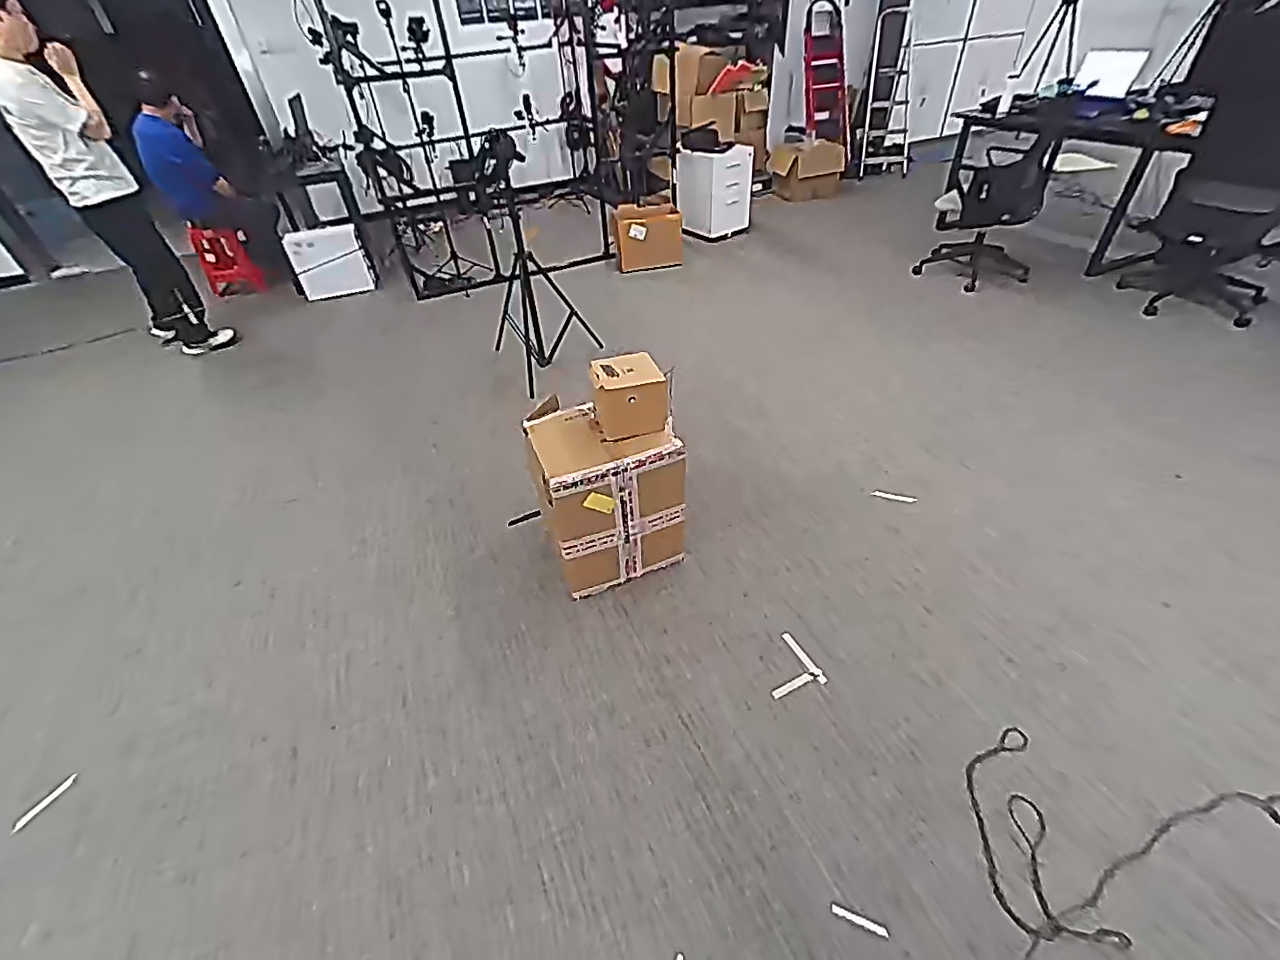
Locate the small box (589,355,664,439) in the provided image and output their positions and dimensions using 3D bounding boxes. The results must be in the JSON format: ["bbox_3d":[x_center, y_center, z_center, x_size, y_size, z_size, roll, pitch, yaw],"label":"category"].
[{"bbox_3d":[-0.037,-0.235,1.546,0.179,0.176,0.168,-13,43,-13],"label":"small box"}]
